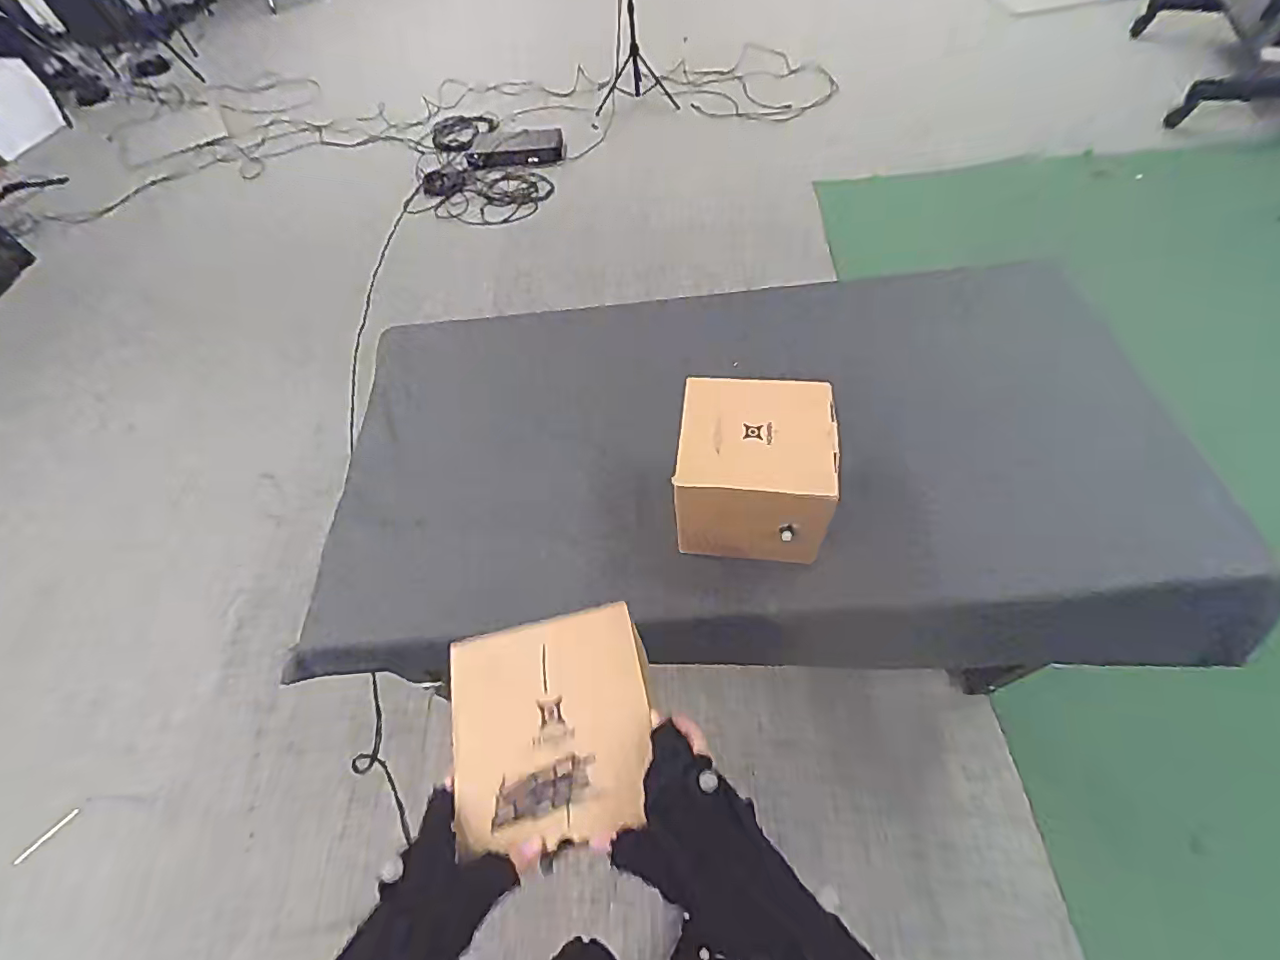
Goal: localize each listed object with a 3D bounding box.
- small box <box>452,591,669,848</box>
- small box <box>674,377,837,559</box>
[{"bbox_3d":[-0.069,0.230,0.521,0.168,0.176,0.179,-12,58,-1],"label":"small box"},{"bbox_3d":[0.142,-0.010,0.691,0.179,0.176,0.168,4,57,9],"label":"small box"}]
